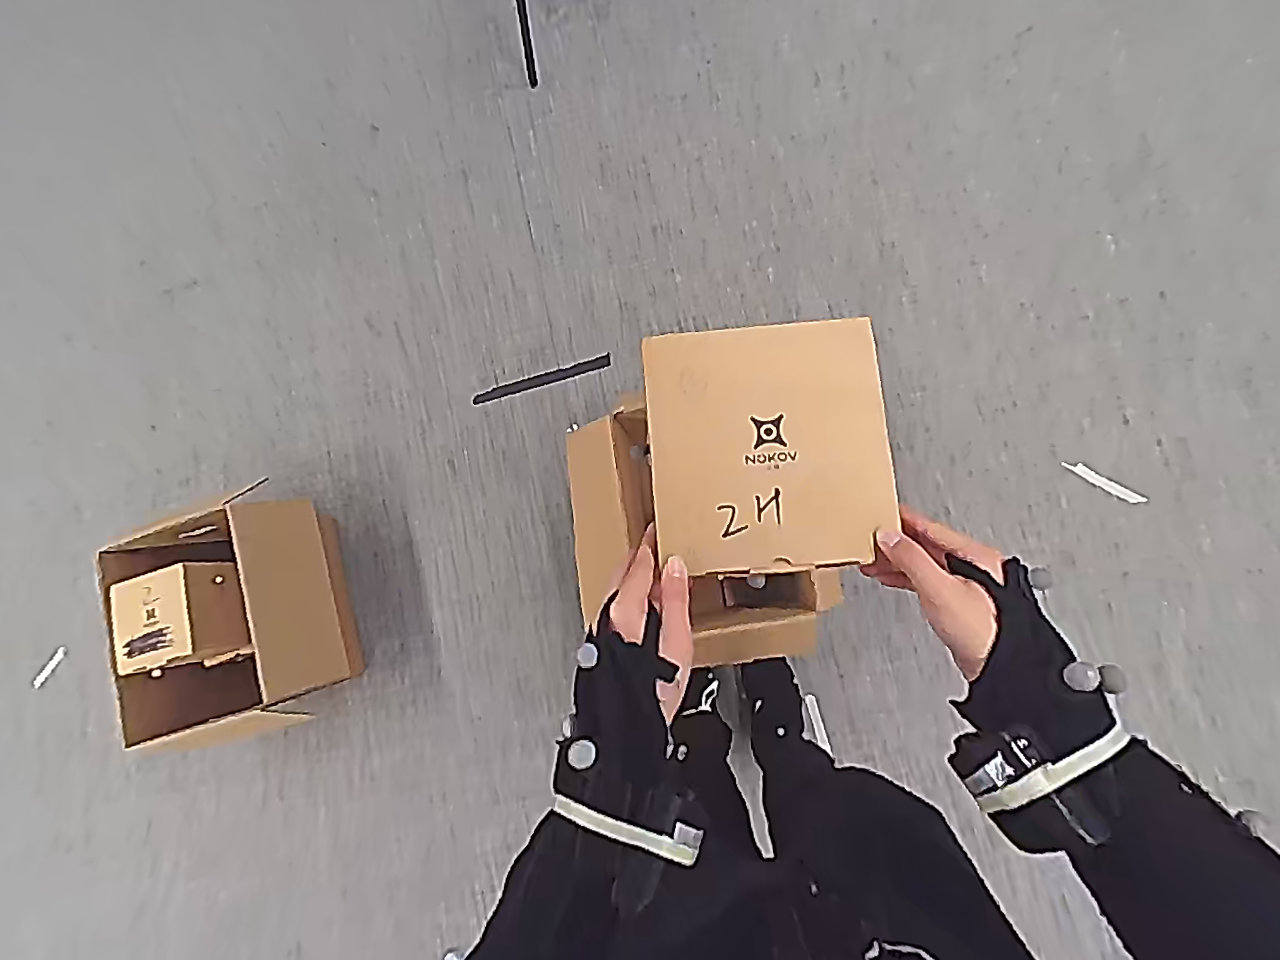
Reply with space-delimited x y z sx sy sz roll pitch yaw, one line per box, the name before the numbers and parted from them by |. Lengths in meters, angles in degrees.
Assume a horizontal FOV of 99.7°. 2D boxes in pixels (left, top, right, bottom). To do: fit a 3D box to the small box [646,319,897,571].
small box | 0.092 -0.015 0.462 0.168 0.176 0.179 -5 81 2
